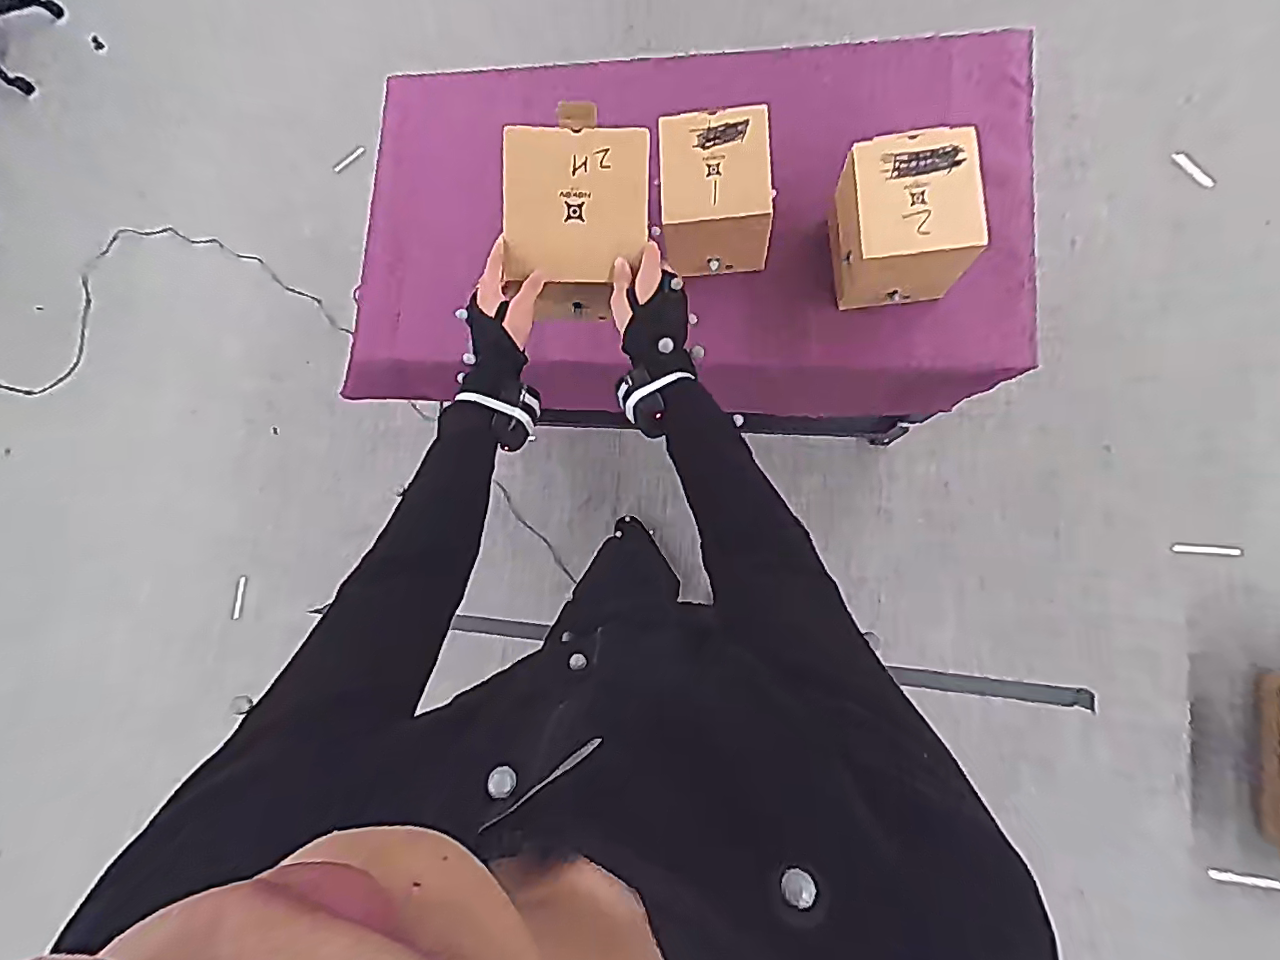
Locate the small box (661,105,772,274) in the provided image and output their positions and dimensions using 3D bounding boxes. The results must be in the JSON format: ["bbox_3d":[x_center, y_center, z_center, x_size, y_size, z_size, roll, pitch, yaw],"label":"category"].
[{"bbox_3d":[0.124,-0.467,0.892,0.168,0.176,0.179,-2,83,8],"label":"small box"}]

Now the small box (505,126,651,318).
[{"bbox_3d":[-0.071,-0.315,0.695,0.168,0.176,0.179,1,91,0],"label":"small box"}]
